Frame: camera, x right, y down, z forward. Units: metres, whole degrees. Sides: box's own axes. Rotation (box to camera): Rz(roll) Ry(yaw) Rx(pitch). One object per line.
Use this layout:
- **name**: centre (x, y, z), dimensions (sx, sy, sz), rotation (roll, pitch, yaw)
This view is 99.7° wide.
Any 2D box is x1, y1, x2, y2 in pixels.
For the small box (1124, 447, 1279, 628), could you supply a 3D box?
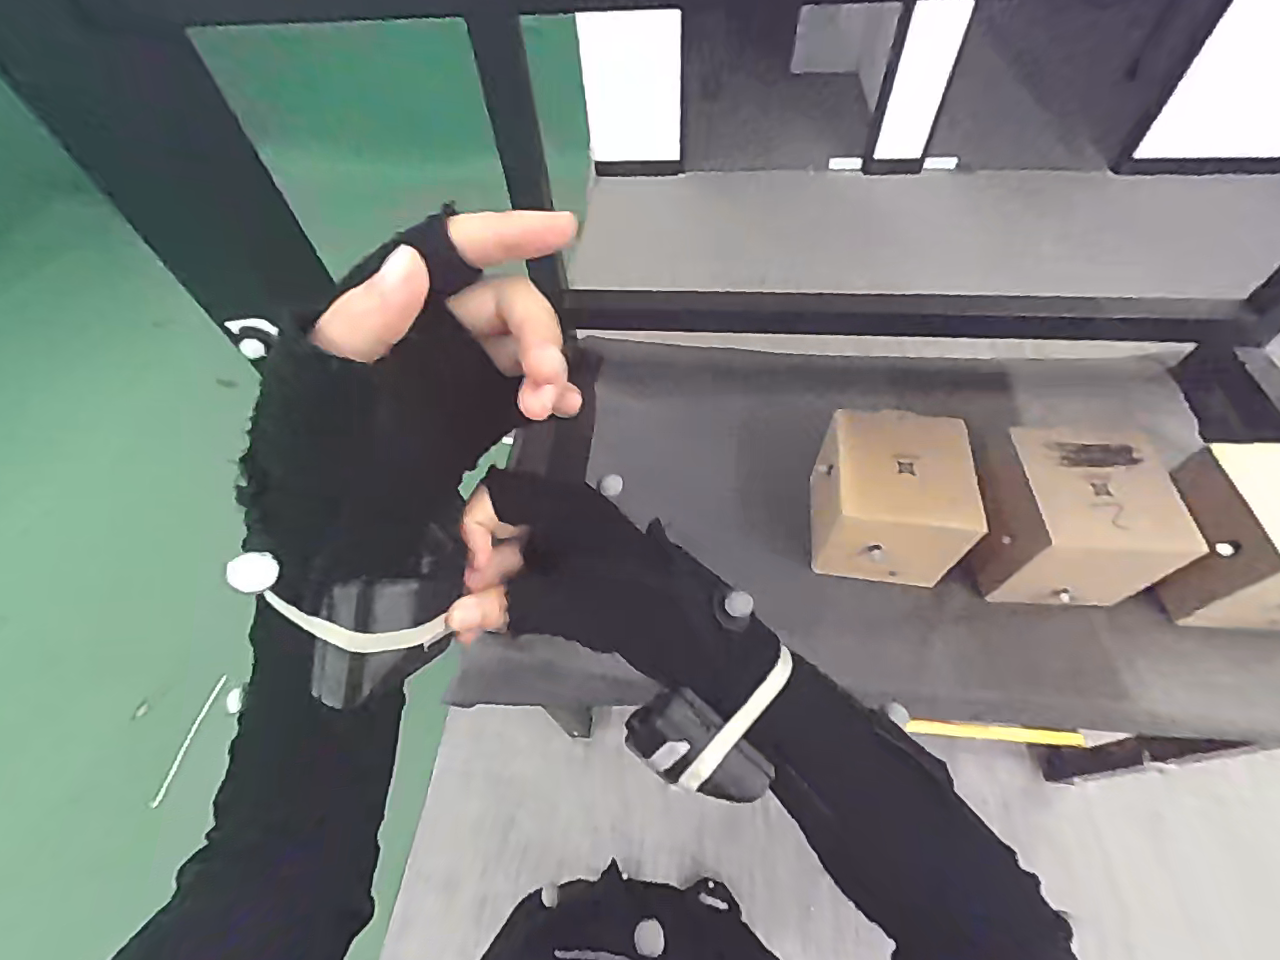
- **small box**: centre (0.783, 0.078, 0.683), dimensions (0.168, 0.176, 0.179), rotation (1, 55, 4)

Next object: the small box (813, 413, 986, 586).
- **small box**: centre (0.342, 0.031, 0.750), dimensions (0.168, 0.176, 0.179), rotation (6, 56, 8)
